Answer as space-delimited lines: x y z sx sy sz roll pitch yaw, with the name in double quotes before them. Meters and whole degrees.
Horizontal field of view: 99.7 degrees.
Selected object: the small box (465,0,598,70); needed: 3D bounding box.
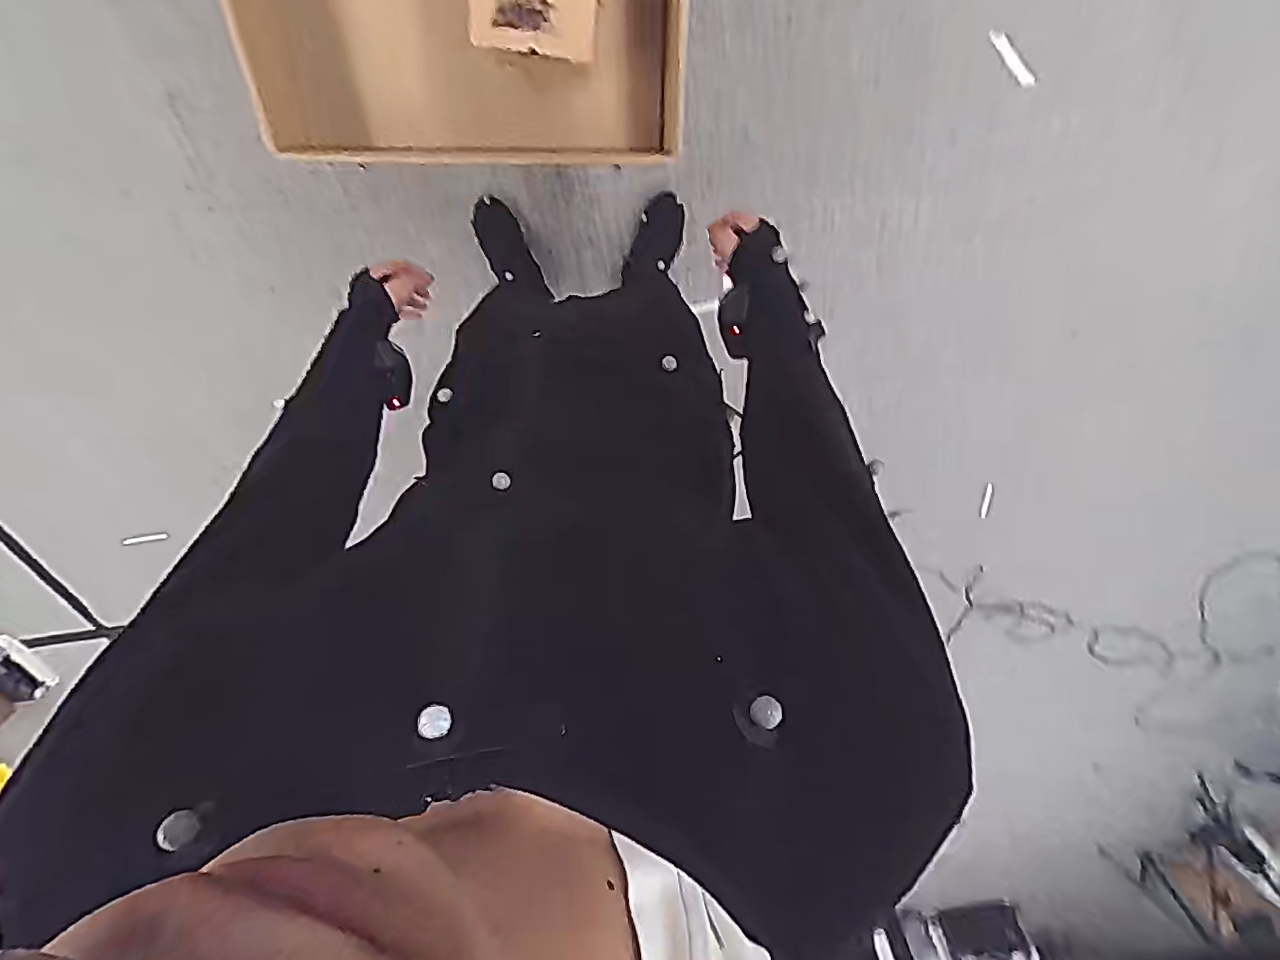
"small box" -0.142 -0.689 0.748 0.168 0.176 0.179 4 122 -6
